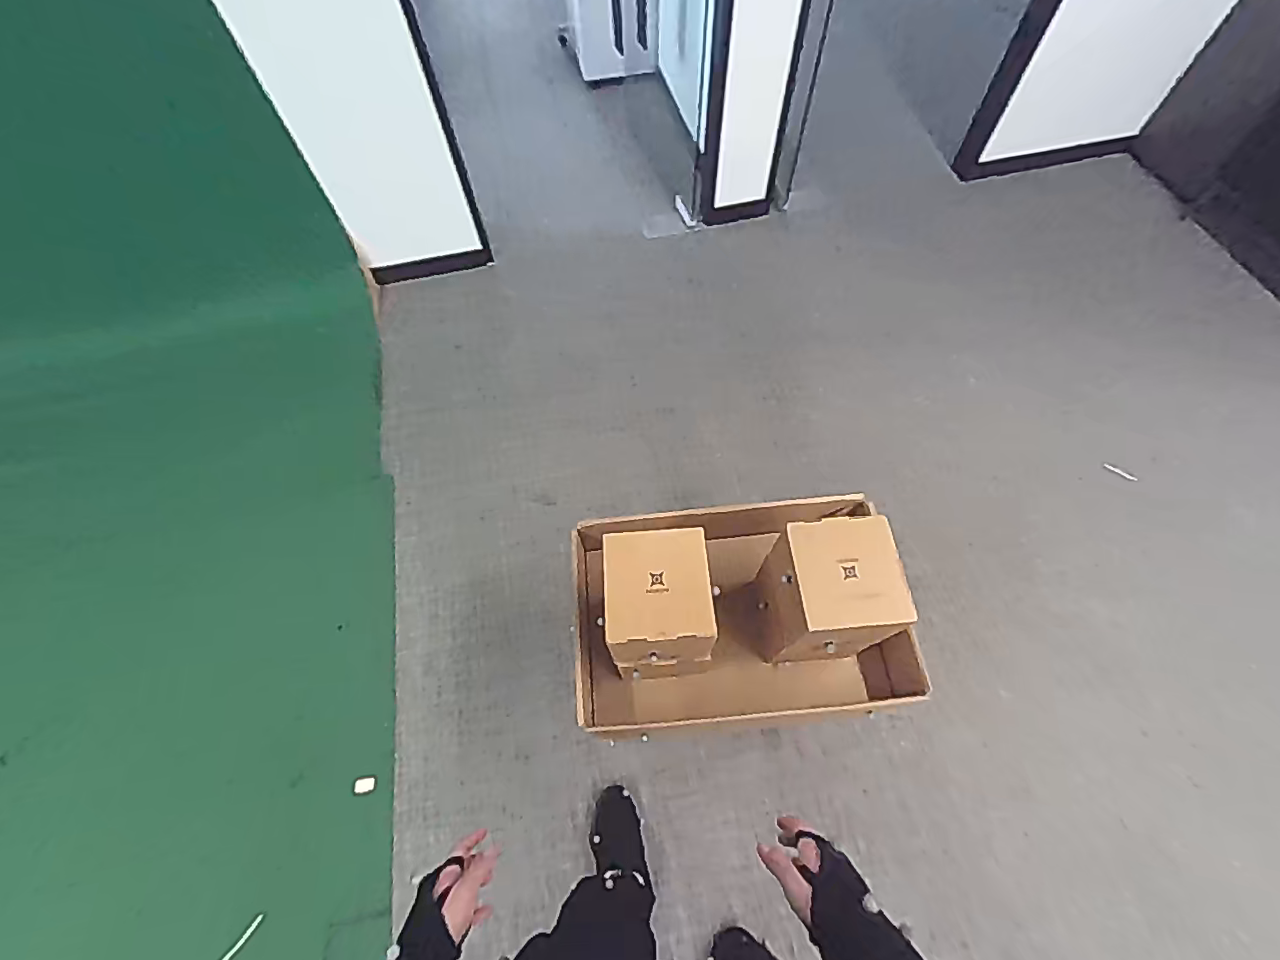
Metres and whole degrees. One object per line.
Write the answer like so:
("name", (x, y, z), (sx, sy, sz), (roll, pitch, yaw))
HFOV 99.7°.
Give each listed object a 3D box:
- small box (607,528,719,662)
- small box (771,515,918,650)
("small box", (0.032, 0.196, 0.904), (0.168, 0.176, 0.179), (-4, 62, -1))
("small box", (0.326, 0.175, 0.904), (0.168, 0.176, 0.179), (-5, 63, 0))
